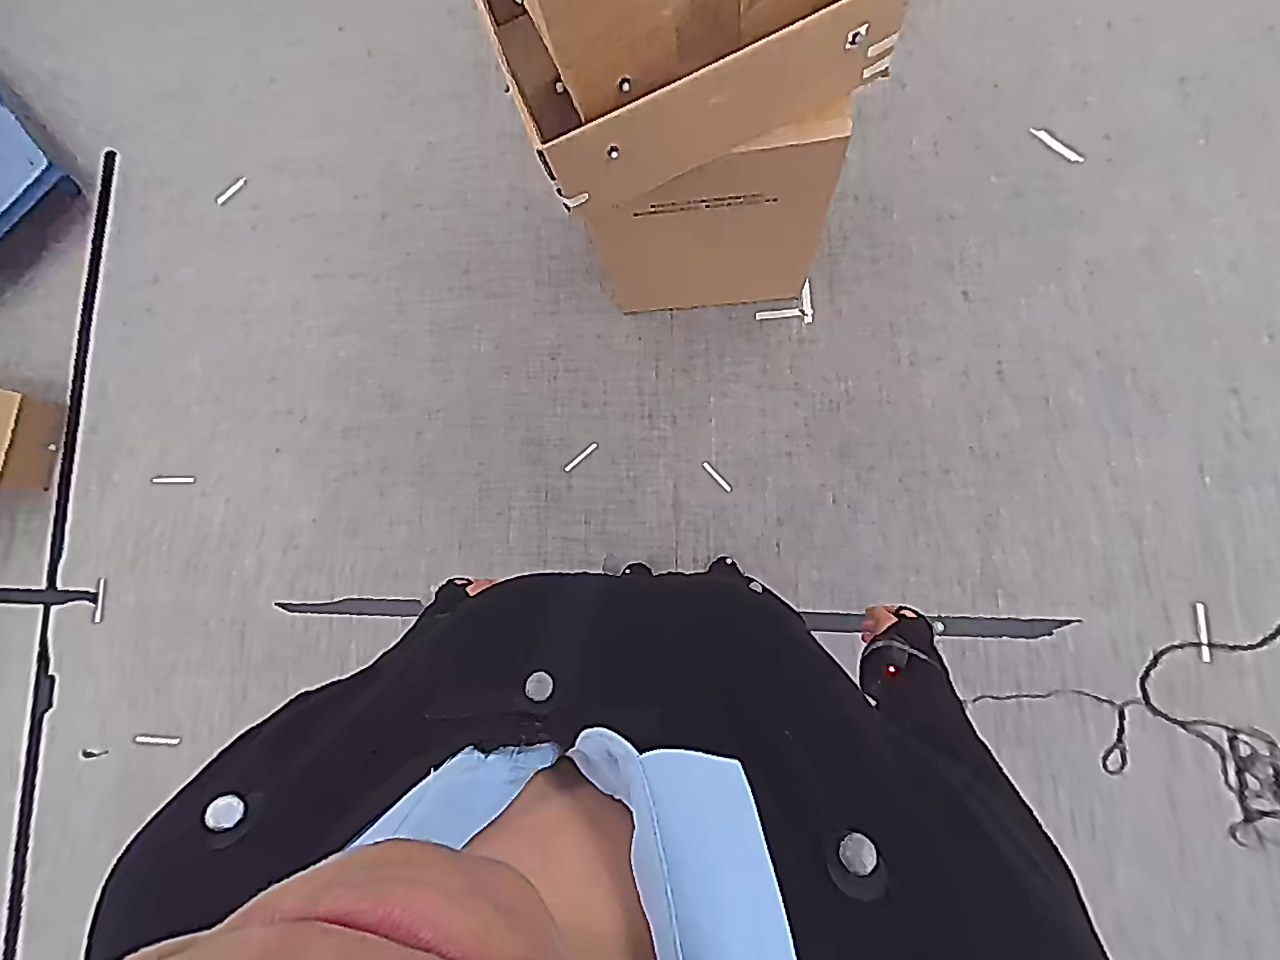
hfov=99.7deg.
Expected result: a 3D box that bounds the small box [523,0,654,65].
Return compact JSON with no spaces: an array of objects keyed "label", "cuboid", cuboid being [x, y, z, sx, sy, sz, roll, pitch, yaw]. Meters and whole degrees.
[{"label":"small box","cuboid":[-0.086,-0.723,0.725,0.179,0.176,0.168,-26,81,4]}]
